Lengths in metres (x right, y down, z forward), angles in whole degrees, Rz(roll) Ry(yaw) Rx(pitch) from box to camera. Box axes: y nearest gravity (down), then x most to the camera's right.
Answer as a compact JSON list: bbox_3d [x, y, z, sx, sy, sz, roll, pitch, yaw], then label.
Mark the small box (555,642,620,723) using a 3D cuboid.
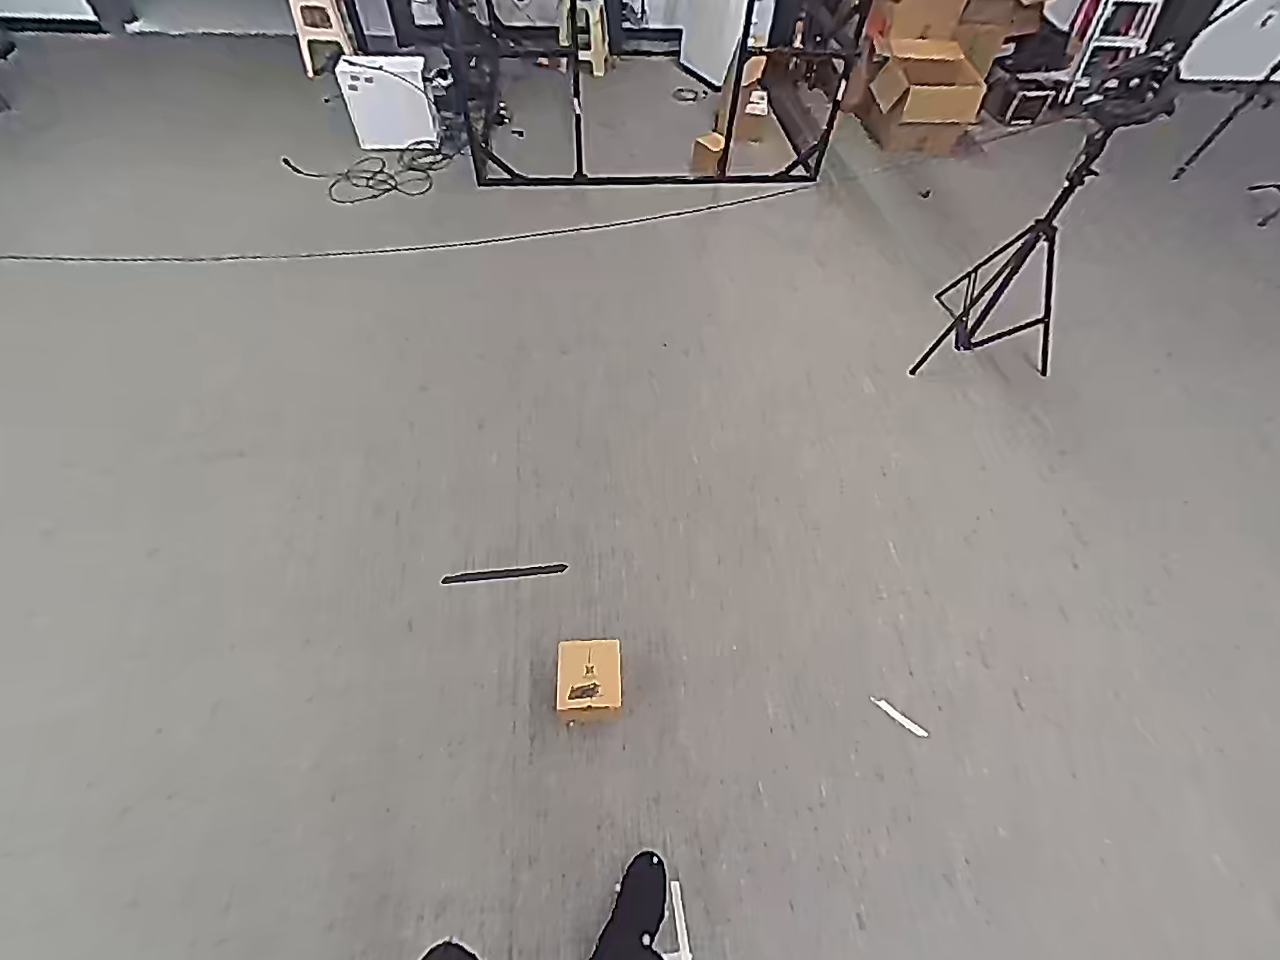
[{"bbox_3d":[-0.137,0.554,1.466,0.168,0.176,0.179,0,54,-4],"label":"small box"}]
